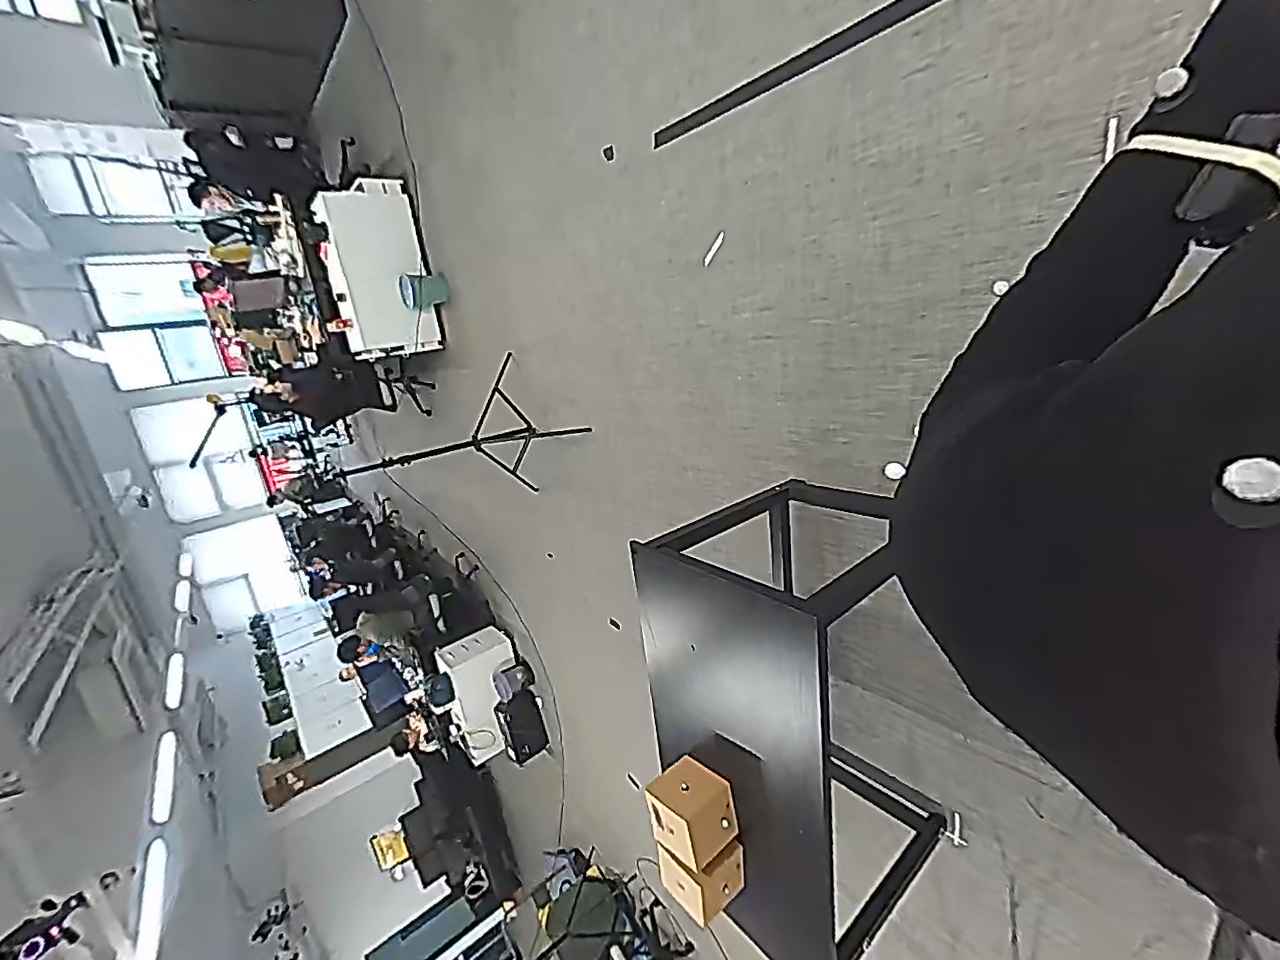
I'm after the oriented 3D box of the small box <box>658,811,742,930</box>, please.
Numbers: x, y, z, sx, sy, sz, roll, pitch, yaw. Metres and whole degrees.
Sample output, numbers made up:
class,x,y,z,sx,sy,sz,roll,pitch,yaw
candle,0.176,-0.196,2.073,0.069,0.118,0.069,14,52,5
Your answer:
class,x,y,z,sx,sy,sz,roll,pitch,yaw
small box,0.175,1.092,1.528,0.179,0.176,0.168,18,119,50
